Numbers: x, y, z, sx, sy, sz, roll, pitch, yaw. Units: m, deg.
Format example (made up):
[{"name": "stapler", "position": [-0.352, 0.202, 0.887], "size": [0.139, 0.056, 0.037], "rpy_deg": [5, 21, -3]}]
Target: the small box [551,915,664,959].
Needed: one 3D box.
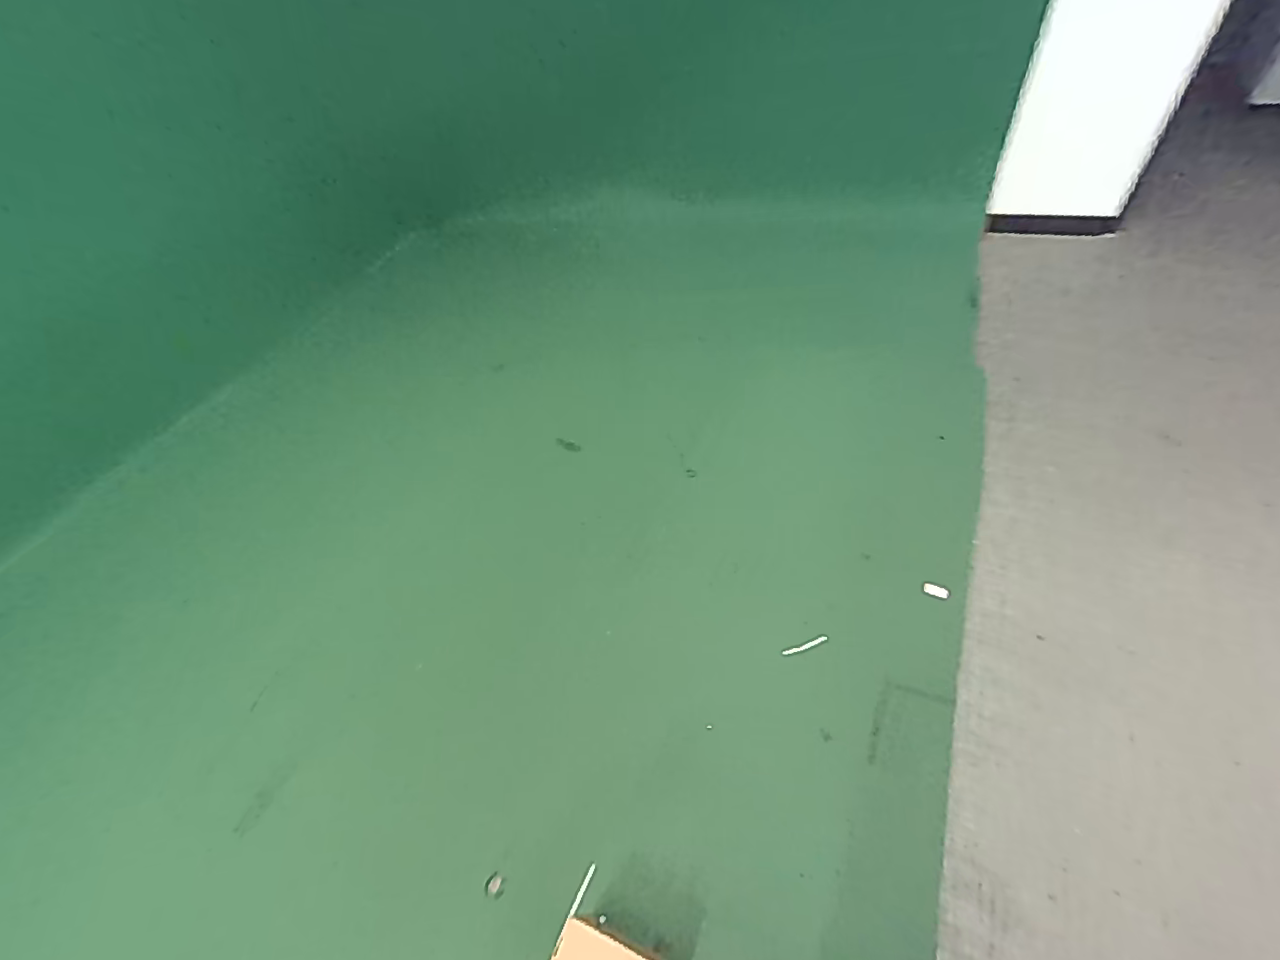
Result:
[{"name": "small box", "position": [-0.069, 0.901, 0.947], "size": [0.179, 0.176, 0.168], "rpy_deg": [13, 56, 19]}]
